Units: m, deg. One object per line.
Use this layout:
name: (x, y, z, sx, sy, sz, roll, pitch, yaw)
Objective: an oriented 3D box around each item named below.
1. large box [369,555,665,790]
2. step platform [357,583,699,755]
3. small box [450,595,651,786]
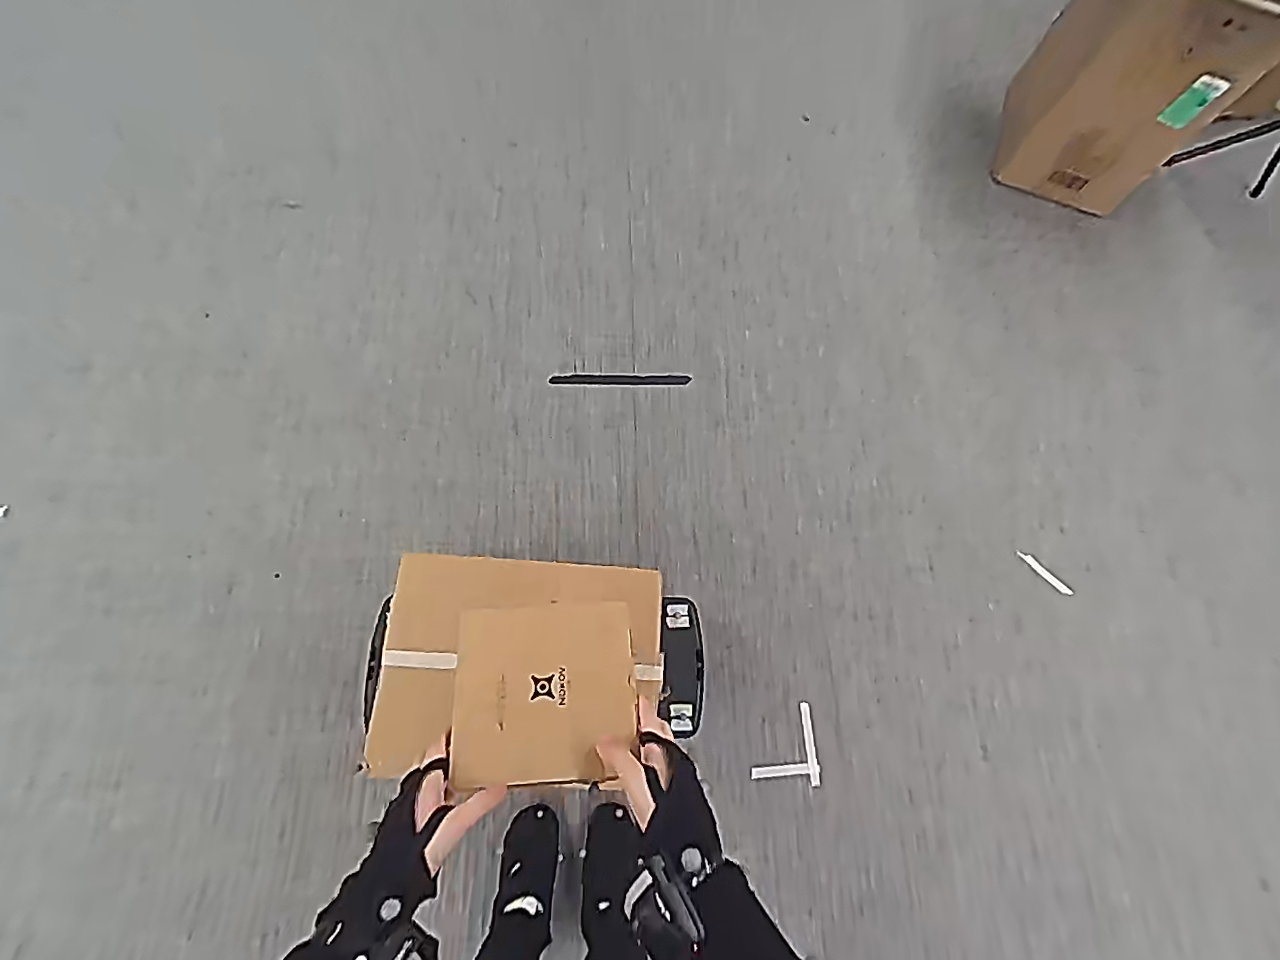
large box: (-0.172, 0.317, 0.928, 0.408, 0.320, 0.320, 4, 70, -2)
step platform: (-0.216, 0.397, 1.150, 0.684, 0.204, 0.286, 6, 71, -2)
small box: (-0.088, 0.228, 0.577, 0.179, 0.176, 0.168, 0, 59, -6)
